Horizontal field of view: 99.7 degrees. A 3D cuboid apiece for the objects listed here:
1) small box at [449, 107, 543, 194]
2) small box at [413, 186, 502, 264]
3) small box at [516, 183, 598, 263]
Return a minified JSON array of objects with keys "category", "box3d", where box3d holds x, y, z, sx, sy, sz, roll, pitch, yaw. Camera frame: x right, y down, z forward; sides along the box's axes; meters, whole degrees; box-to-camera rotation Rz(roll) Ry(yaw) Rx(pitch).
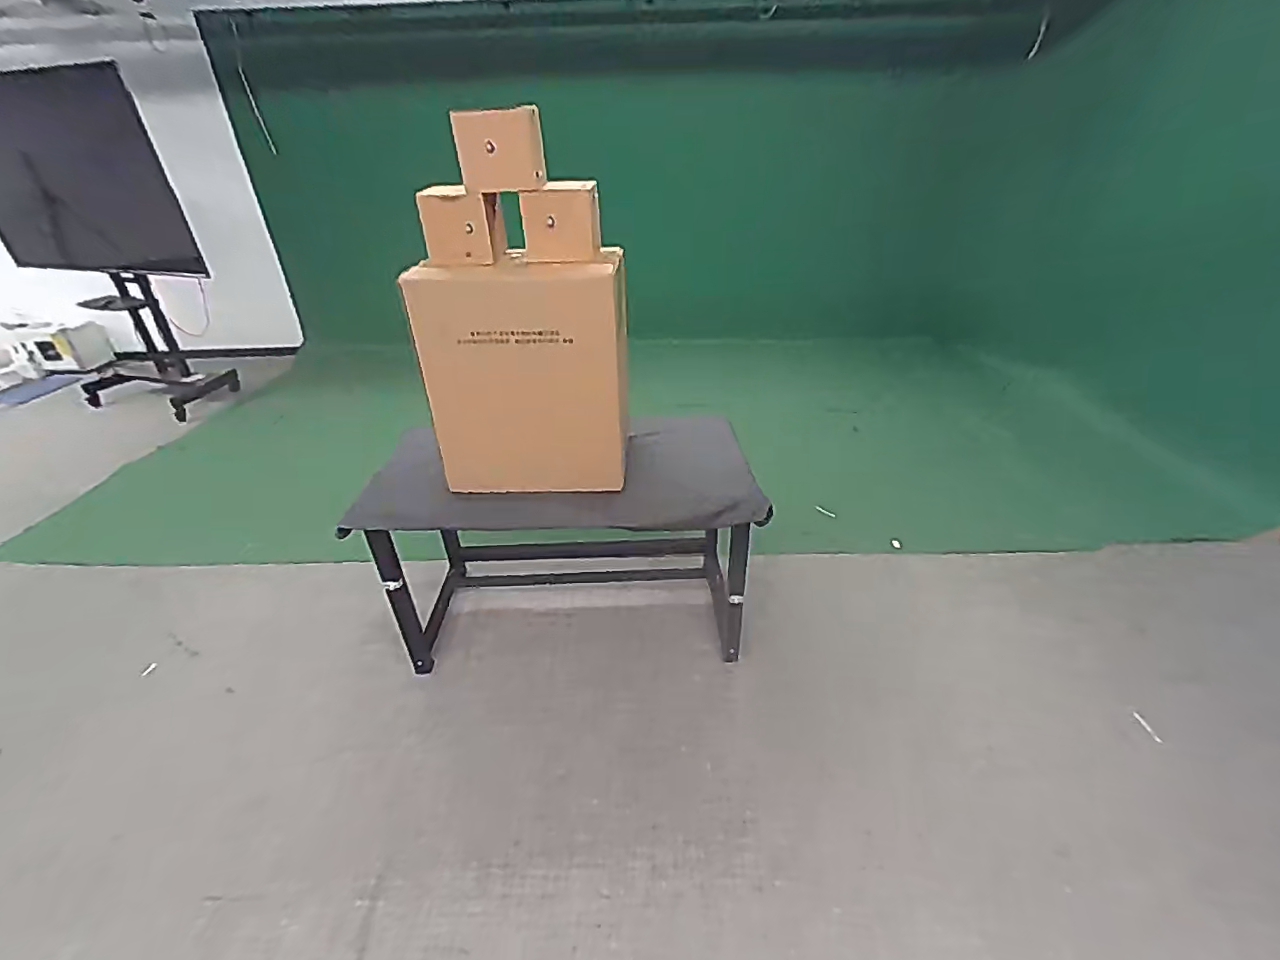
[{"category":"small box","box3d":[-0.340,-0.805,1.319,0.179,0.176,0.168,-2,33,1]},{"category":"small box","box3d":[-0.465,-0.666,1.411,0.168,0.176,0.179,1,32,0]},{"category":"small box","box3d":[-0.208,-0.668,1.407,0.179,0.176,0.168,0,34,2]}]
